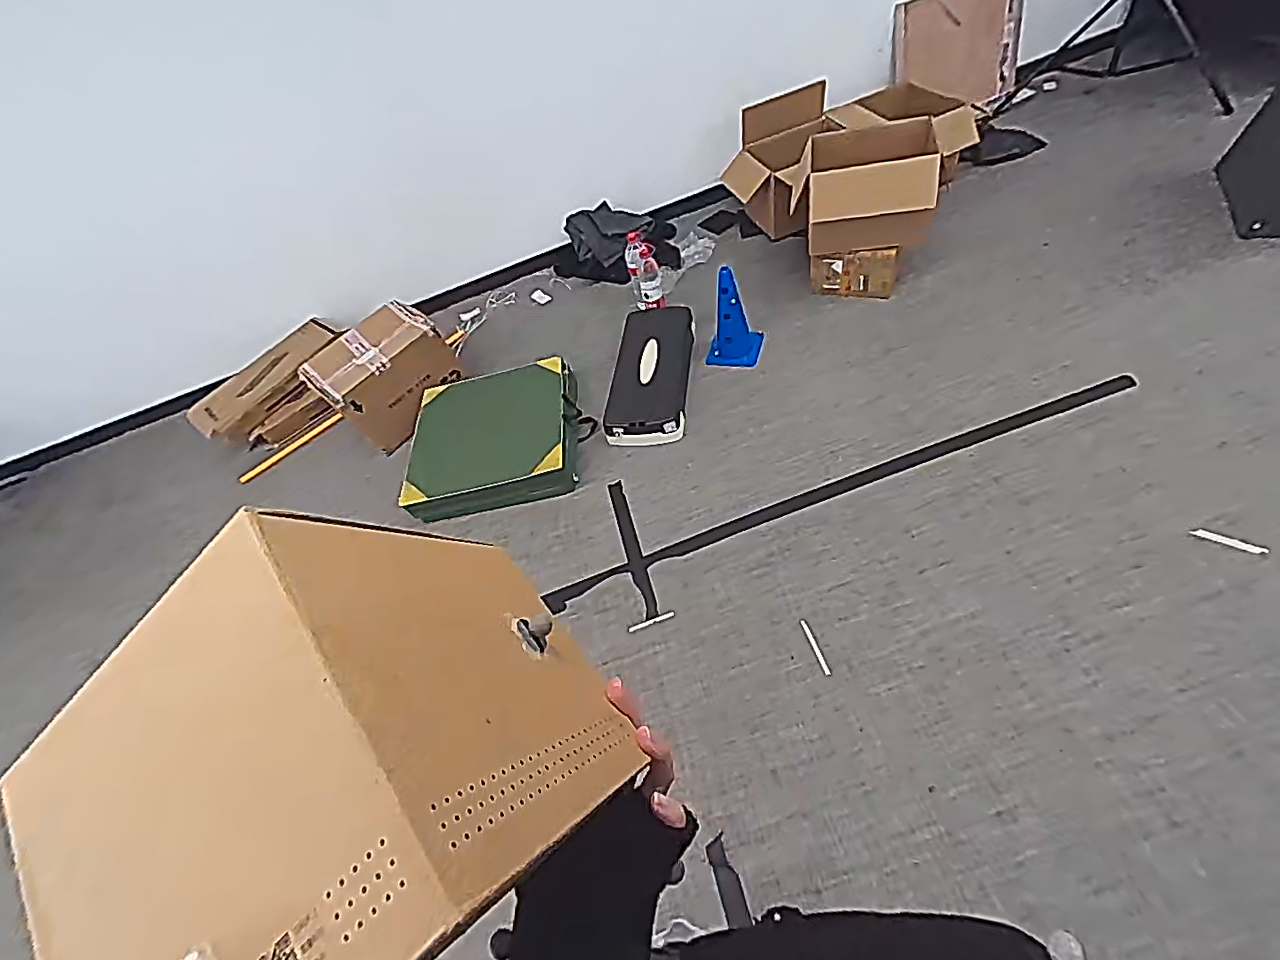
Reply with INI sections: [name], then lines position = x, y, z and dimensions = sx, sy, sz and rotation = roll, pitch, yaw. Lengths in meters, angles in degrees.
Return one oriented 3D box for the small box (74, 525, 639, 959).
[small box]
position = -0.125, 0.149, 0.283
dimensions = 0.168, 0.179, 0.176
rotation = -46, 67, 6
